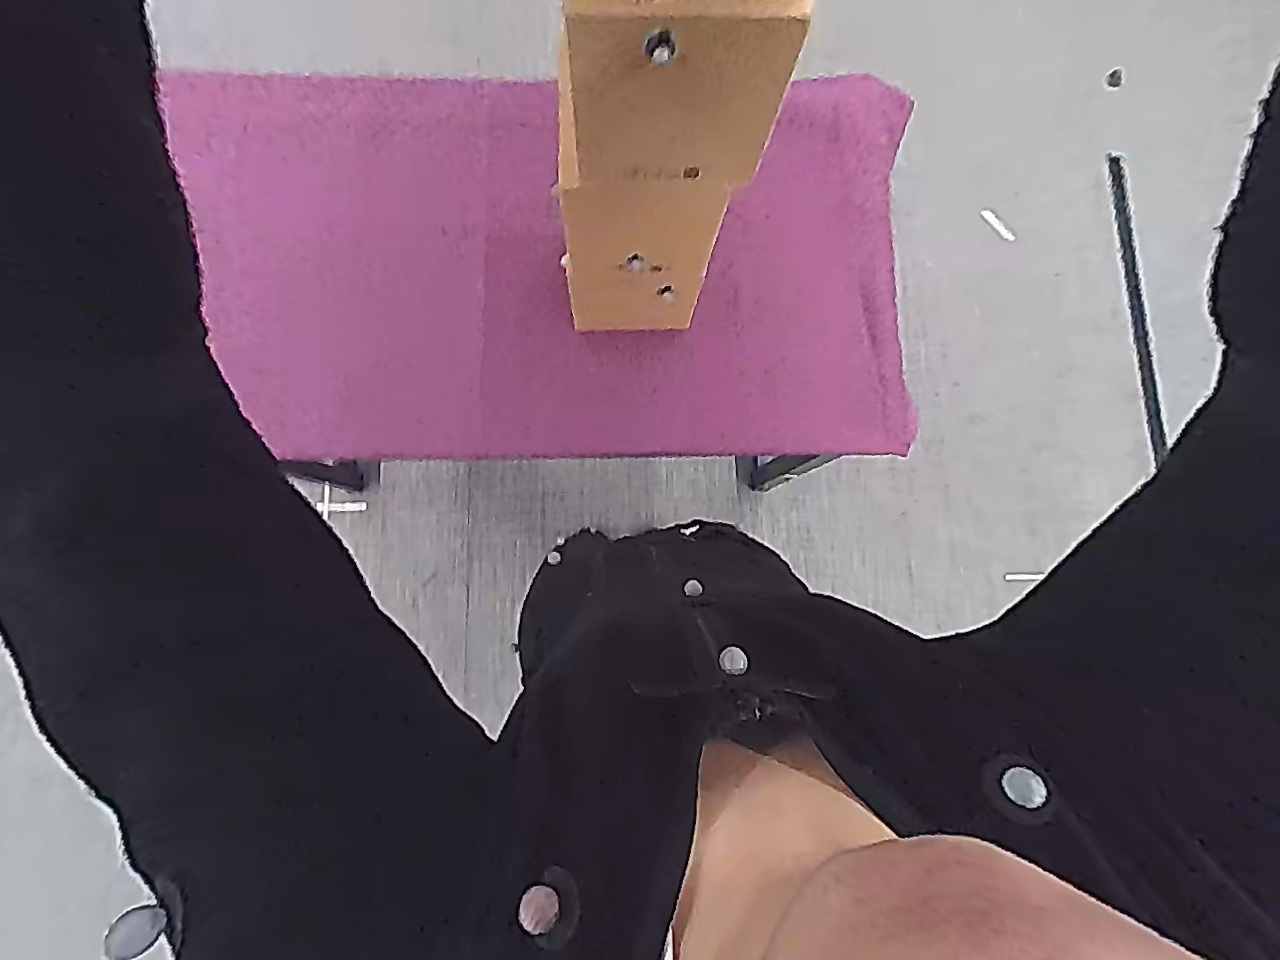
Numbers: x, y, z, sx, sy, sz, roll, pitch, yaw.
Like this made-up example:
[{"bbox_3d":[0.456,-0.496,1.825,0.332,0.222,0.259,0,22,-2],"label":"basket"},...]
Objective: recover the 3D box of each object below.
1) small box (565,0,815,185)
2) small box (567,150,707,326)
[{"bbox_3d":[0.025,-0.375,0.436,0.168,0.176,0.179,-2,82,-3],"label":"small box"},{"bbox_3d":[-0.008,-0.328,0.759,0.179,0.176,0.168,-2,81,-2],"label":"small box"}]
